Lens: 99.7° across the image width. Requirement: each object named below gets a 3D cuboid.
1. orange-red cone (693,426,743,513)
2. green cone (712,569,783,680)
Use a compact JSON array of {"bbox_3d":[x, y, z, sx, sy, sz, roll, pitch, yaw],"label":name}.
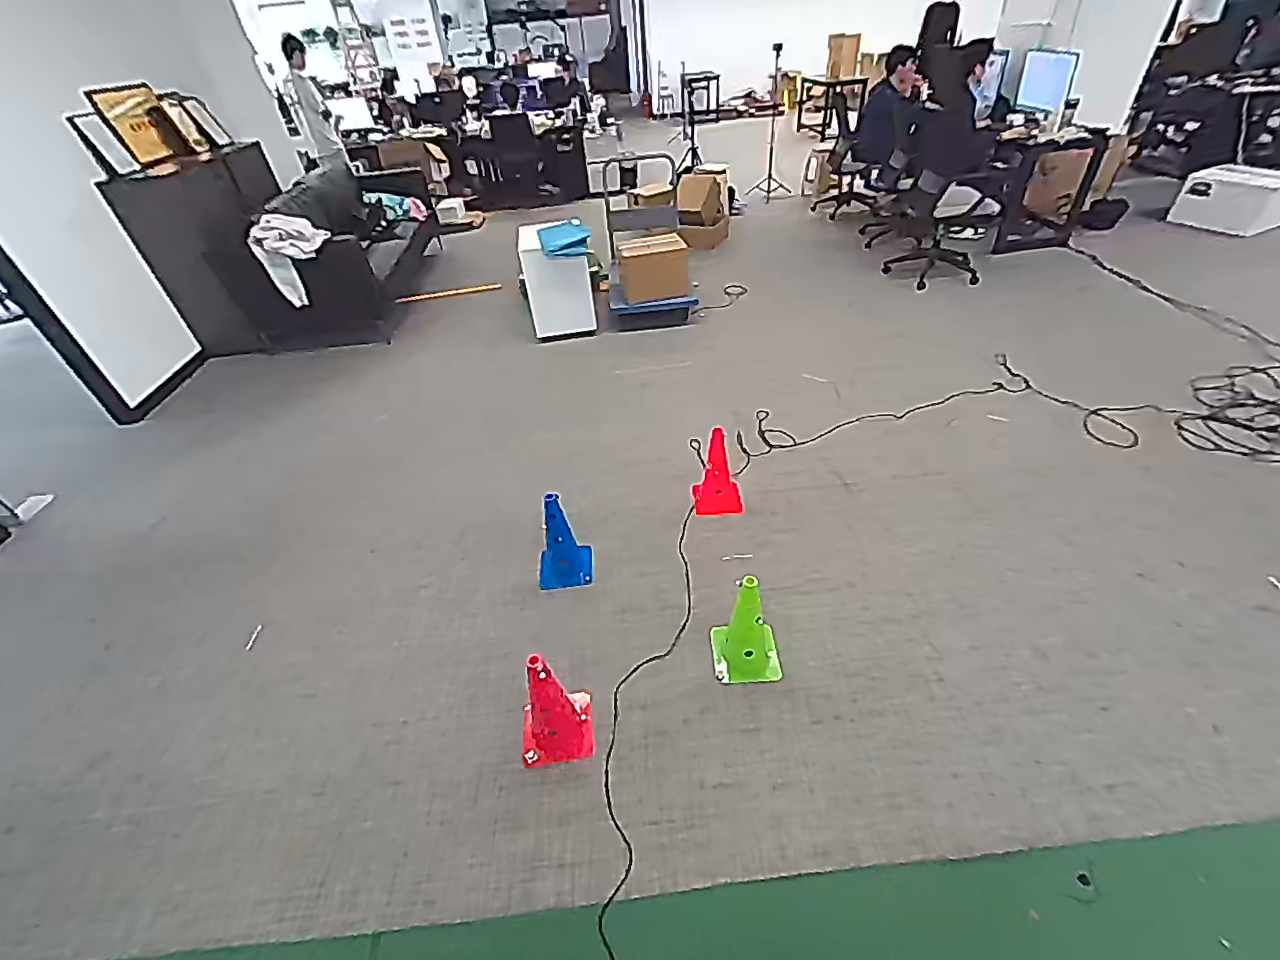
[{"bbox_3d":[0.309,-0.061,2.166,0.198,0.360,0.199,-4,41,4],"label":"orange-red cone"},{"bbox_3d":[0.323,0.404,1.602,0.200,0.368,0.202,-5,39,1],"label":"green cone"}]
